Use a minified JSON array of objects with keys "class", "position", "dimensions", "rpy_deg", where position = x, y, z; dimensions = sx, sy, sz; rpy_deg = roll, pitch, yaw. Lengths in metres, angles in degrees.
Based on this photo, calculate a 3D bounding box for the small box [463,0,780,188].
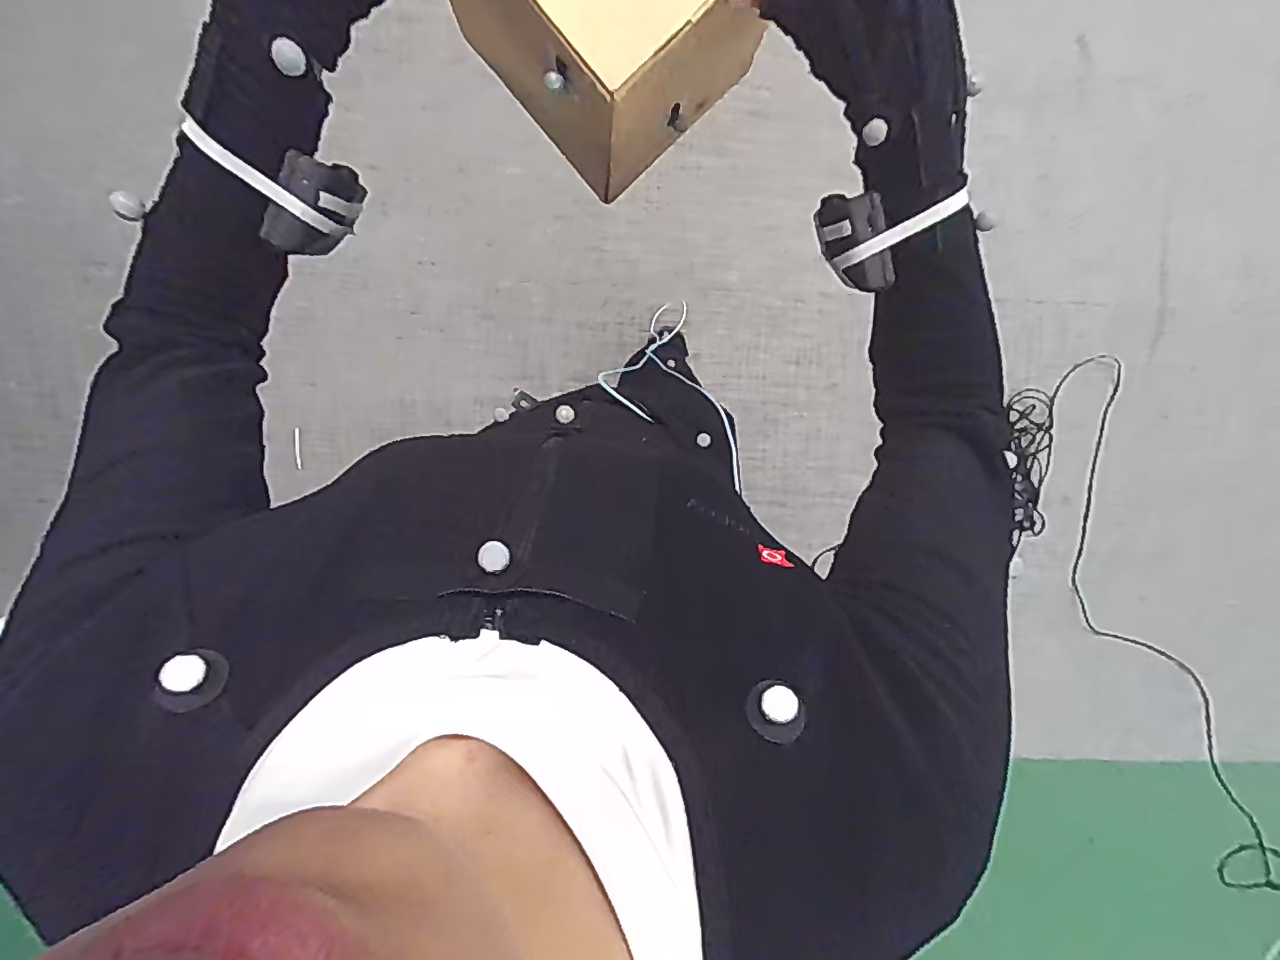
[{"class":"small box","position":[-0.017,-0.346,0.370],"dimensions":[0.168,0.176,0.179],"rpy_deg":[-42,101,2]}]
